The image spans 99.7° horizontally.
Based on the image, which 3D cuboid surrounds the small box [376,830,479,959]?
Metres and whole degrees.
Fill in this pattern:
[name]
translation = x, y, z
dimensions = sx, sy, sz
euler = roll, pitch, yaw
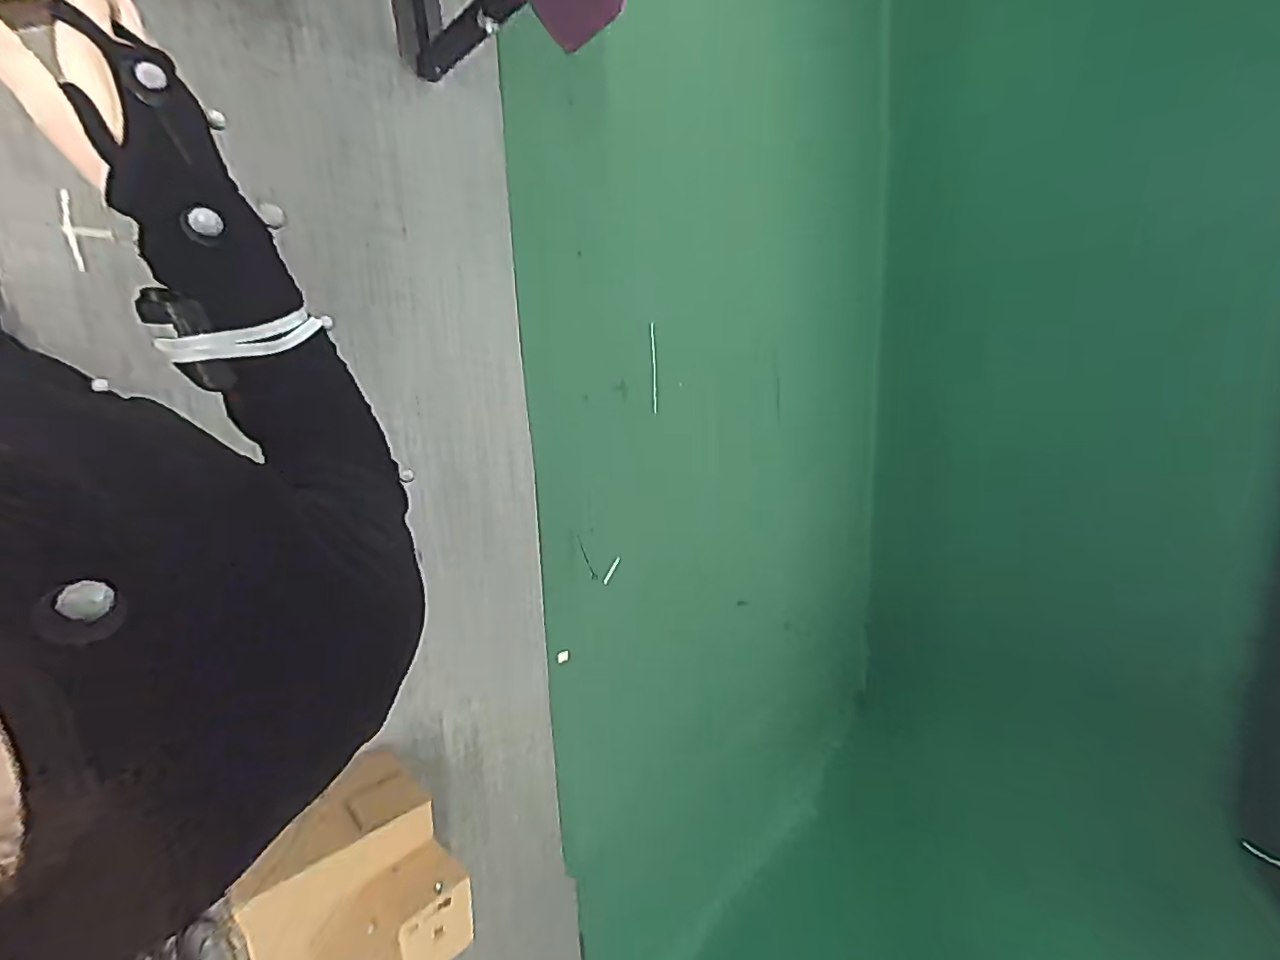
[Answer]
[small box]
translation = -0.493, 0.973, 1.259
dimensions = 0.168, 0.176, 0.179
euler = -12, 106, -48
